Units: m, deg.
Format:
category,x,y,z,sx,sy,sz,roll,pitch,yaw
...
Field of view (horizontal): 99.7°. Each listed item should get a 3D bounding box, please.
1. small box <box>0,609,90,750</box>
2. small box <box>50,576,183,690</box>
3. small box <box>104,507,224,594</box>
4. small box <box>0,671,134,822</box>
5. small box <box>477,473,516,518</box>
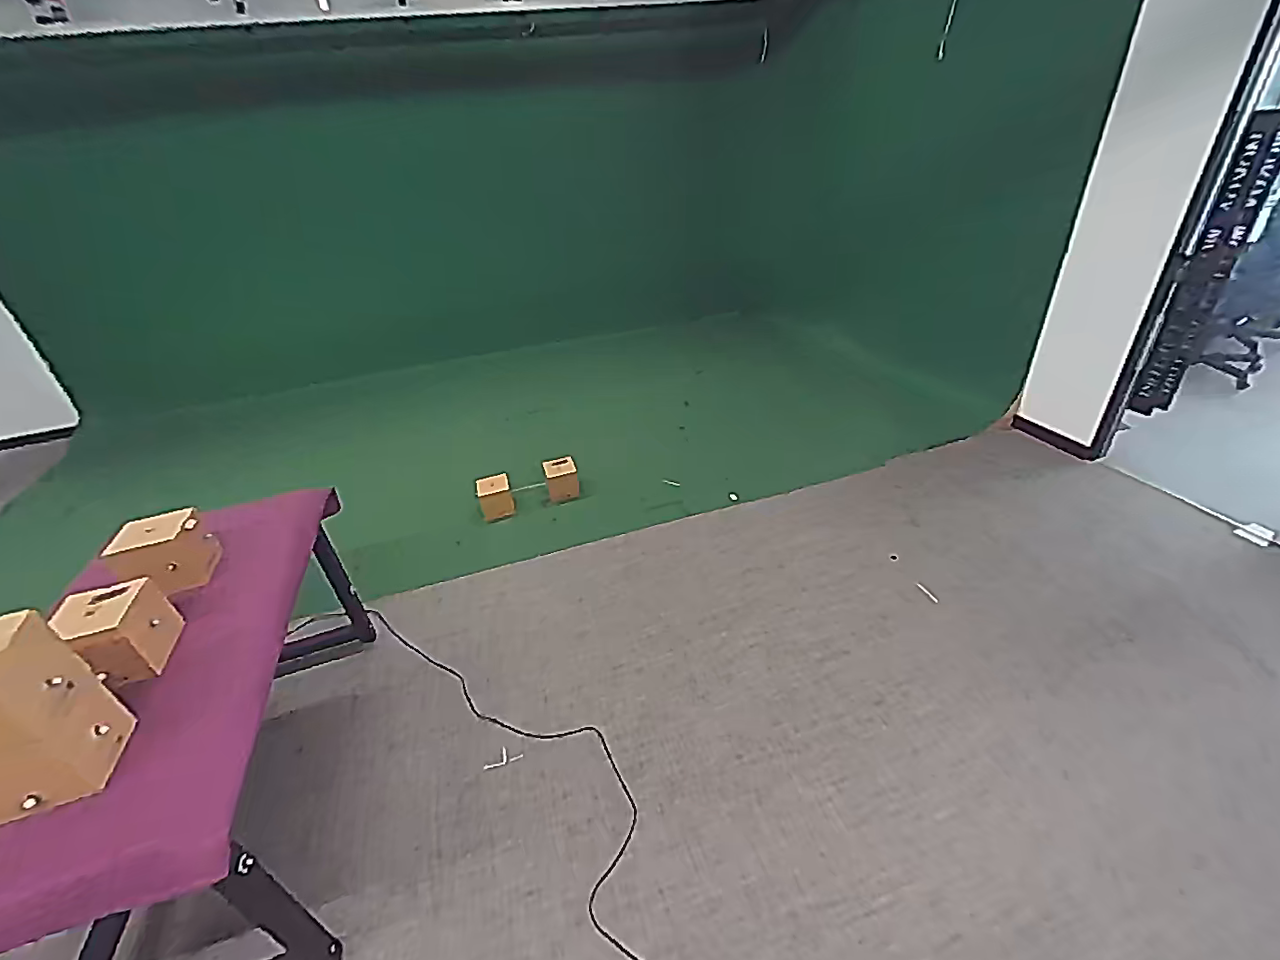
category,x,y,z,sx,sy,sz,roll,pitch,yaw
small box,-1.144,0.362,0.941,0.179,0.176,0.168,-14,34,-14
small box,-1.222,0.361,1.264,0.168,0.176,0.179,-15,34,-13
small box,-1.326,0.206,1.525,0.179,0.176,0.168,-15,33,-12
small box,-1.131,0.503,1.027,0.179,0.176,0.168,-14,32,-14
small box,-0.783,0.093,2.959,0.168,0.176,0.179,-15,33,-13
